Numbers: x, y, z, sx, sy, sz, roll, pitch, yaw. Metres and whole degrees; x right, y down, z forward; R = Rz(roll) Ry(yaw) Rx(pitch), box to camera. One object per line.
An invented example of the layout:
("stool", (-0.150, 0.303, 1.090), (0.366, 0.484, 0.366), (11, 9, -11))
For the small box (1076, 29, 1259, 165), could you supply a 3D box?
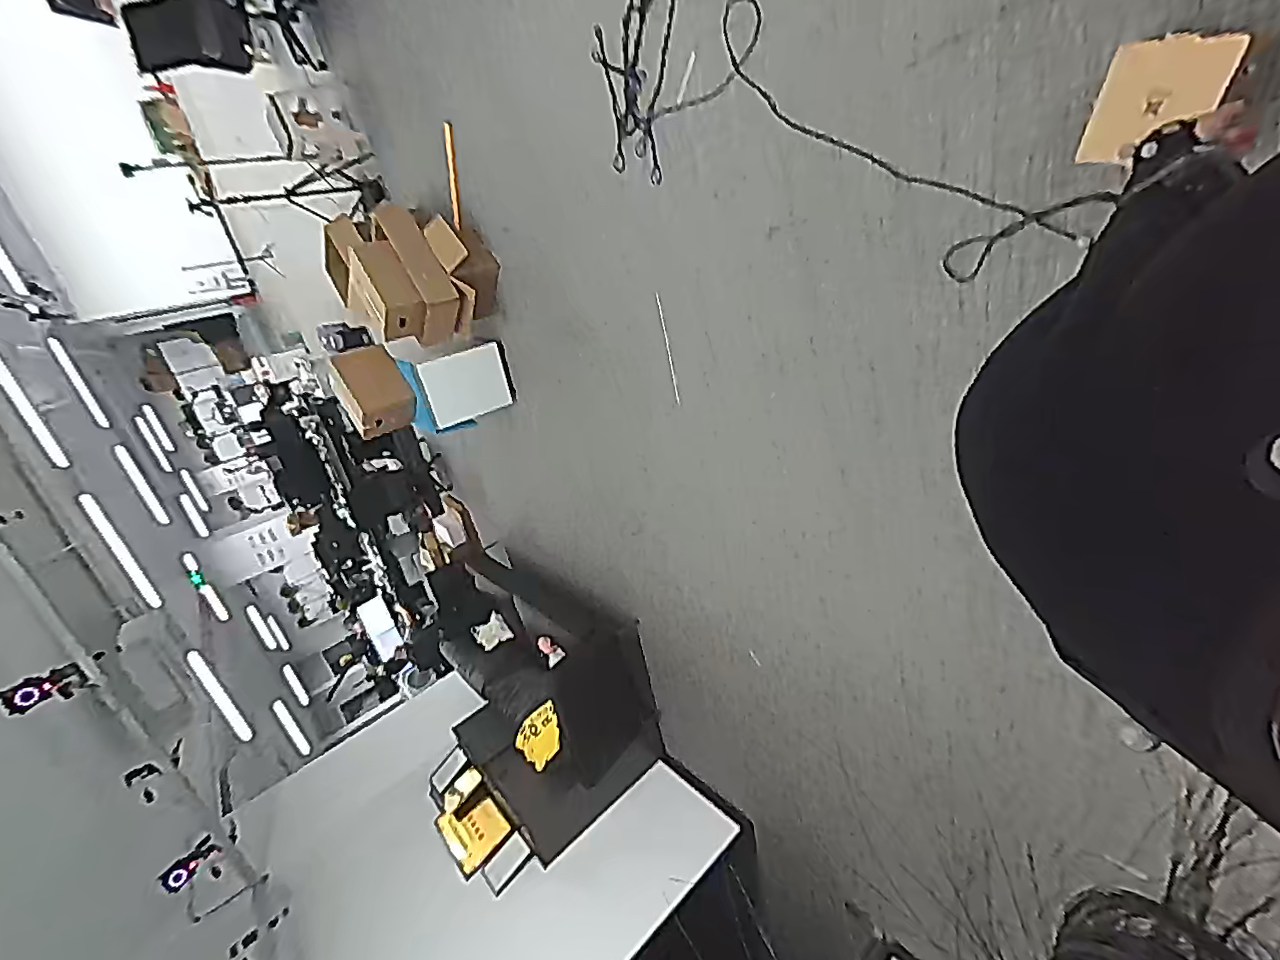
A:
("small box", (0.912, -0.660, 0.939), (0.168, 0.176, 0.179), (33, 138, 38))
